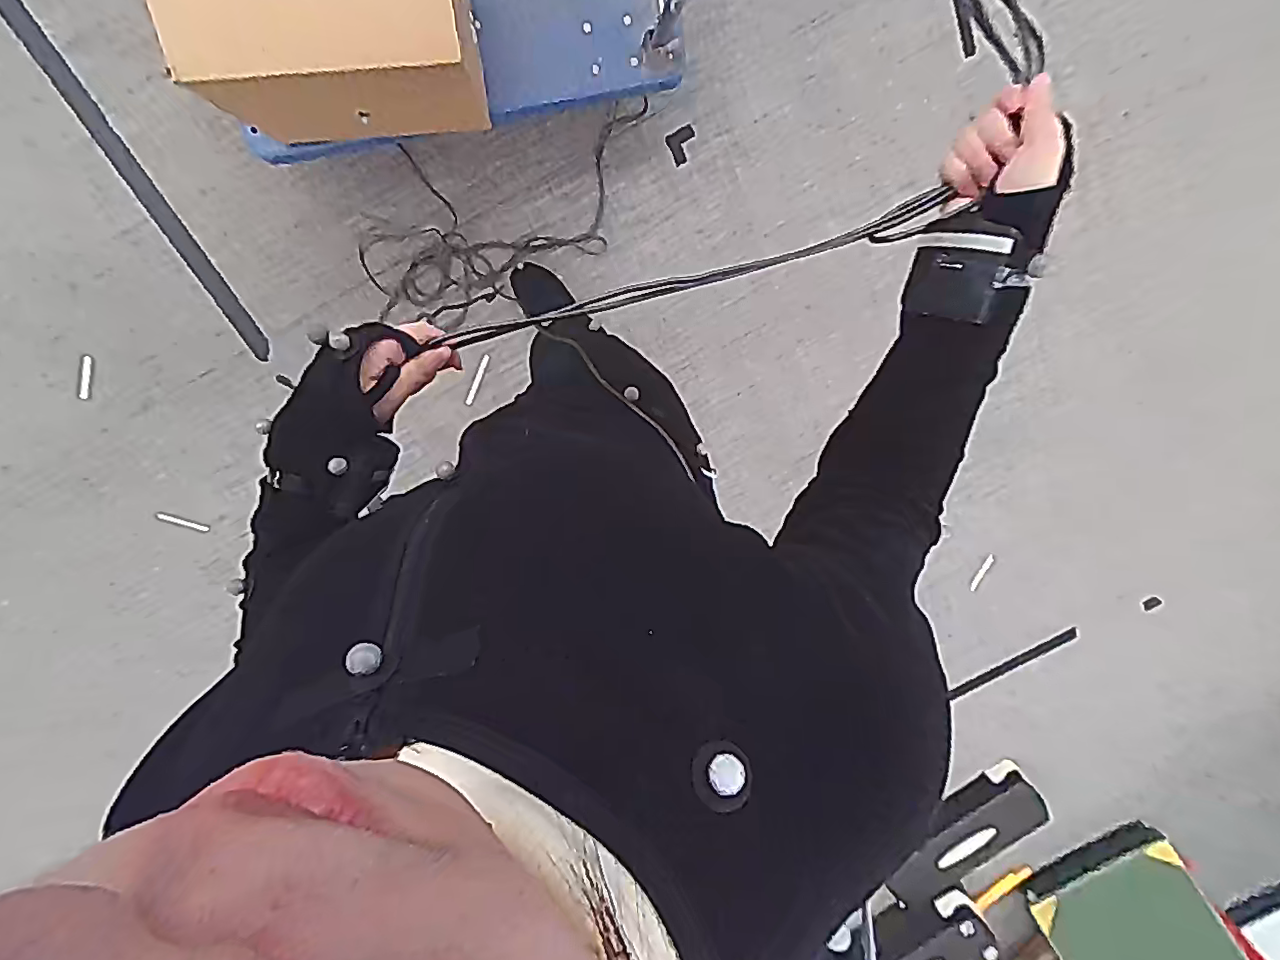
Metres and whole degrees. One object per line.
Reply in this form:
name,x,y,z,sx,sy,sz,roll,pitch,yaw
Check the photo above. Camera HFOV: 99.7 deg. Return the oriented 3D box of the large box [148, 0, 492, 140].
large box,-0.485,-0.770,0.860,0.408,0.320,0.320,-8,108,-4
